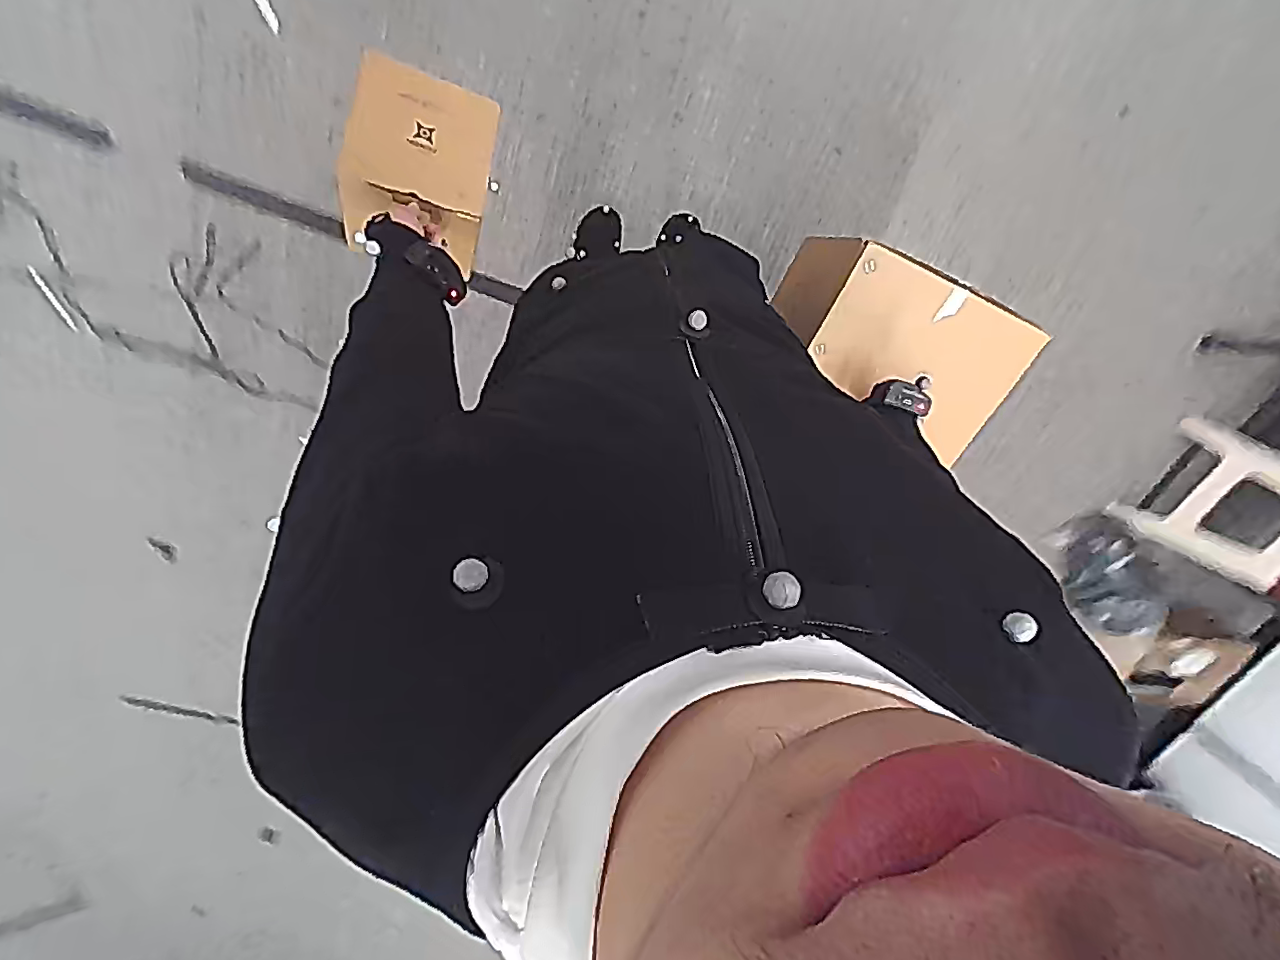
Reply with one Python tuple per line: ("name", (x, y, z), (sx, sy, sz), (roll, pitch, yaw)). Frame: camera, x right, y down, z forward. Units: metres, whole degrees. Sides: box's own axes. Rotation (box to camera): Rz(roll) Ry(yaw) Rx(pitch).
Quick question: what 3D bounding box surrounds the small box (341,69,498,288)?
("small box", (-0.300, -0.395, 0.745), (0.168, 0.176, 0.179), (8, 77, -23))
